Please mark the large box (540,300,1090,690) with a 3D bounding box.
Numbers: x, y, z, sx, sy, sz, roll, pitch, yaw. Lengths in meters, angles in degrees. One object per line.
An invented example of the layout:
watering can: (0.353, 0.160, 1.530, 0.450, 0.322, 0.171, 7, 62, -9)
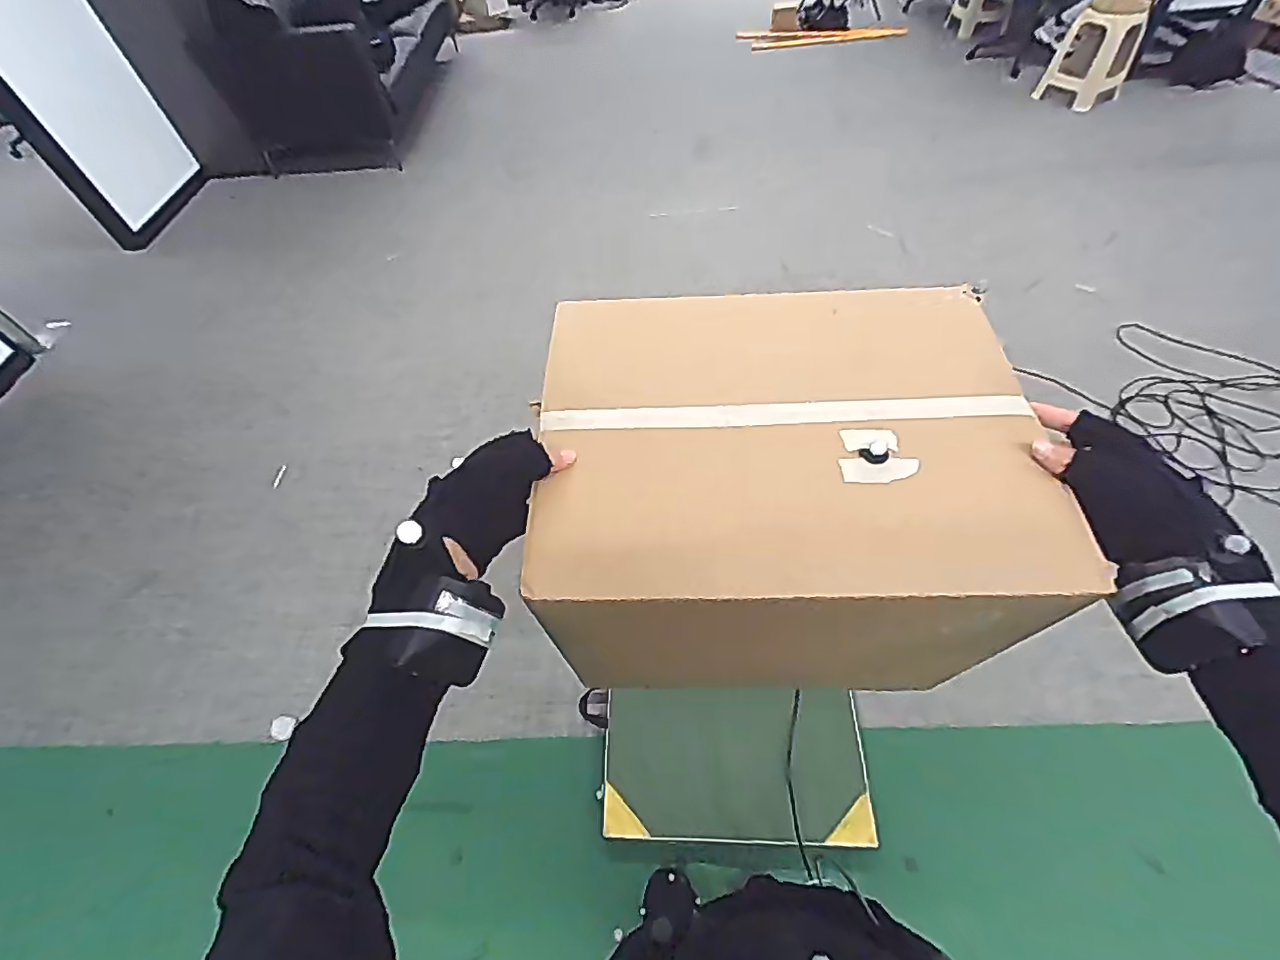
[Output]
large box: (0.126, 0.033, 0.591, 0.408, 0.320, 0.320, -1, 58, 2)
